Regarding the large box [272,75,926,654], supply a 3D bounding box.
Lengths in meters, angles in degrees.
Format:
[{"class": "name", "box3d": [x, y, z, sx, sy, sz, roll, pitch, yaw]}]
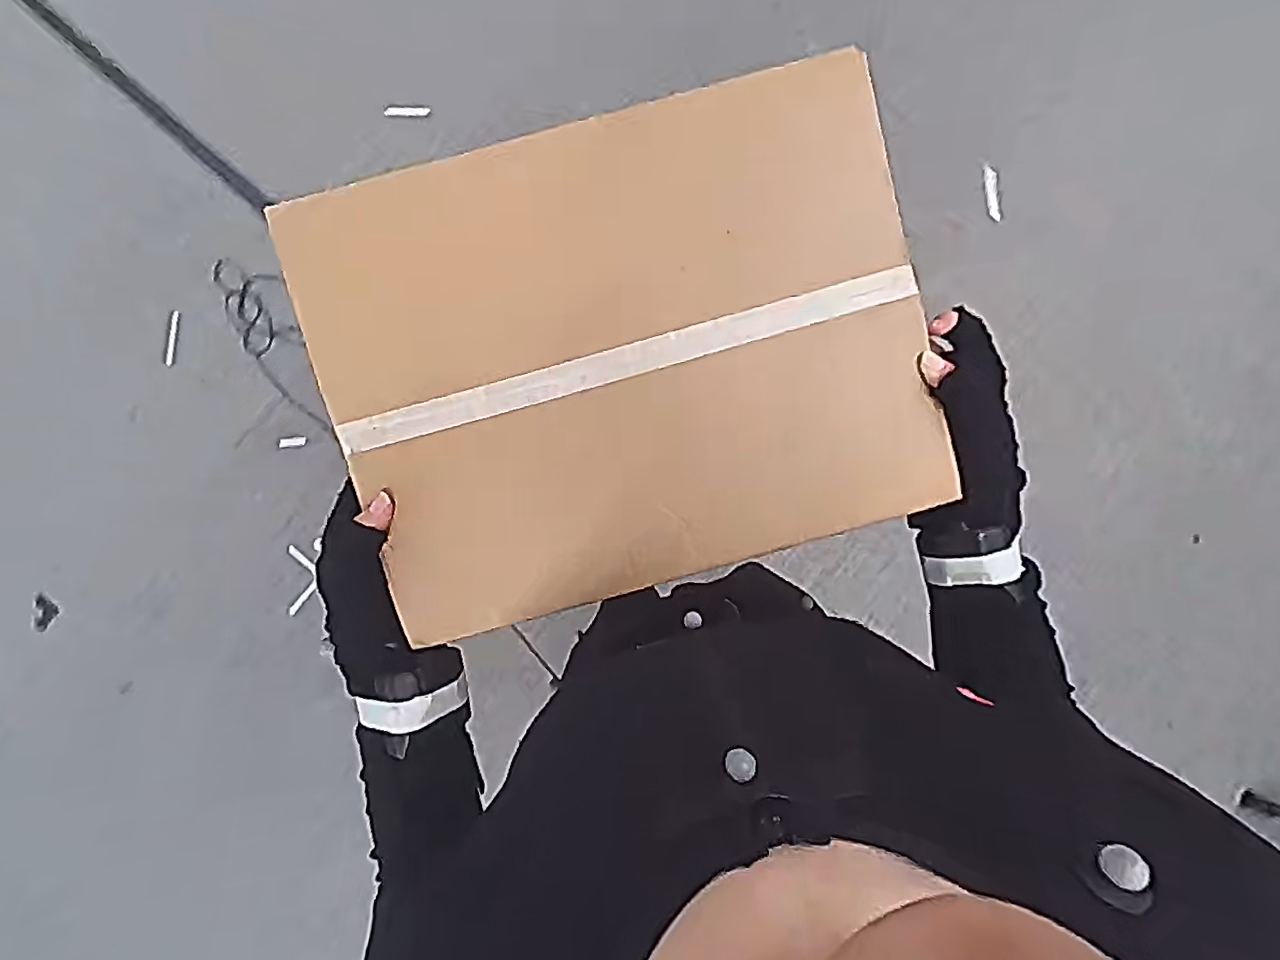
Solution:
[{"class": "large box", "box3d": [-0.023, -0.089, 0.530, 0.408, 0.320, 0.320, -17, 95, 0]}]
